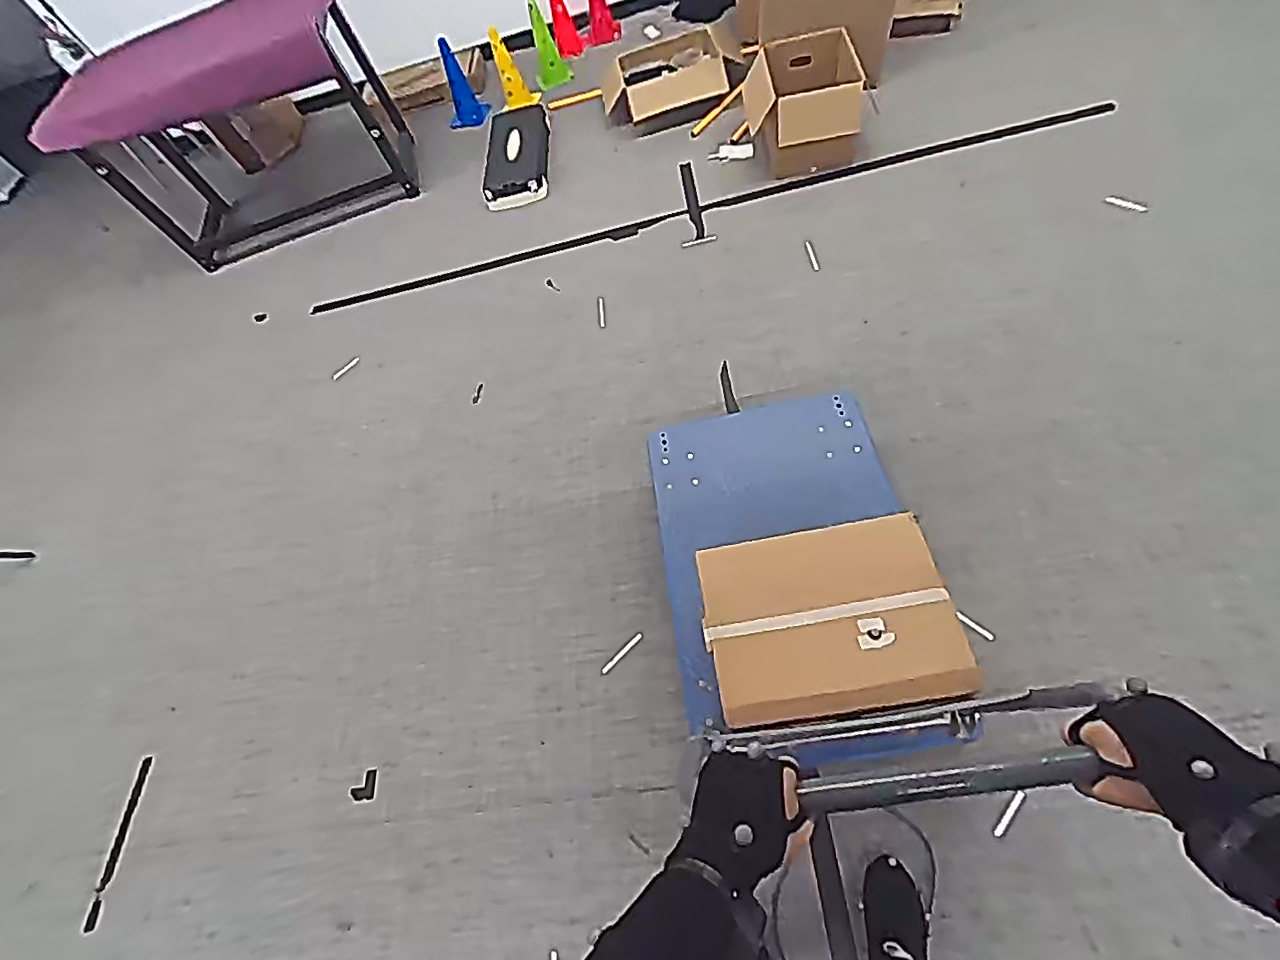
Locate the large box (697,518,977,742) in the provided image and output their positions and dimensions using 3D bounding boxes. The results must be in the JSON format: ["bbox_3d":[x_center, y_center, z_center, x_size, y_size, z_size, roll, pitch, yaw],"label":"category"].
[{"bbox_3d":[0.347,0.313,1.071,0.408,0.320,0.320,-12,61,5],"label":"large box"}]
